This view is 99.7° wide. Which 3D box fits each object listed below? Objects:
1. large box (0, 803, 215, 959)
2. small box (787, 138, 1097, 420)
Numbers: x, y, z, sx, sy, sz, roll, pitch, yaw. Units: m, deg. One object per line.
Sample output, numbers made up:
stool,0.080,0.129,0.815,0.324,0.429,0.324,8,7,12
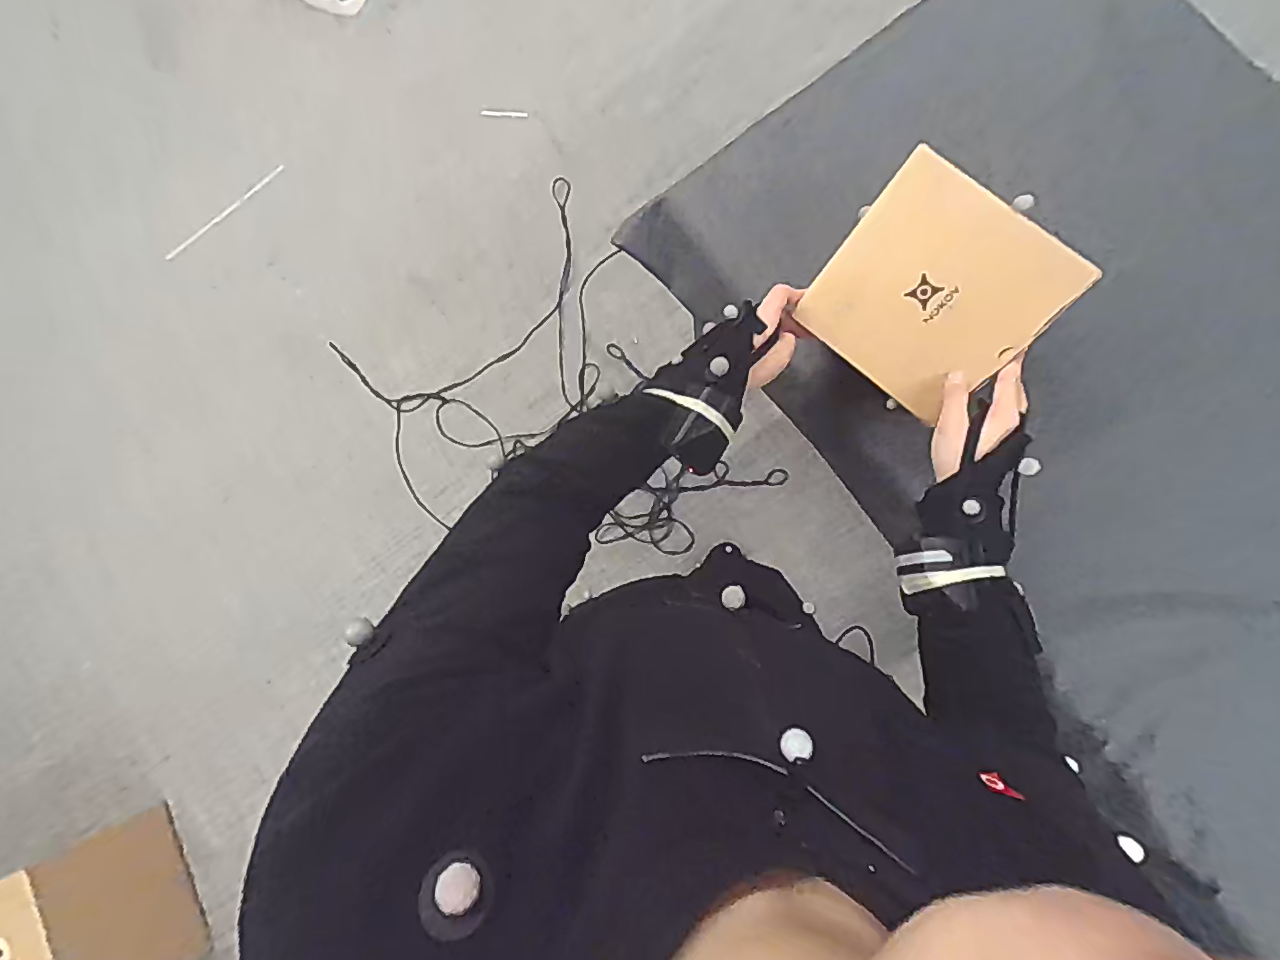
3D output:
large box,-1.342,1.100,1.303,0.320,0.320,0.408,-29,79,3
small box,0.277,-0.188,0.528,0.179,0.176,0.168,41,122,7
